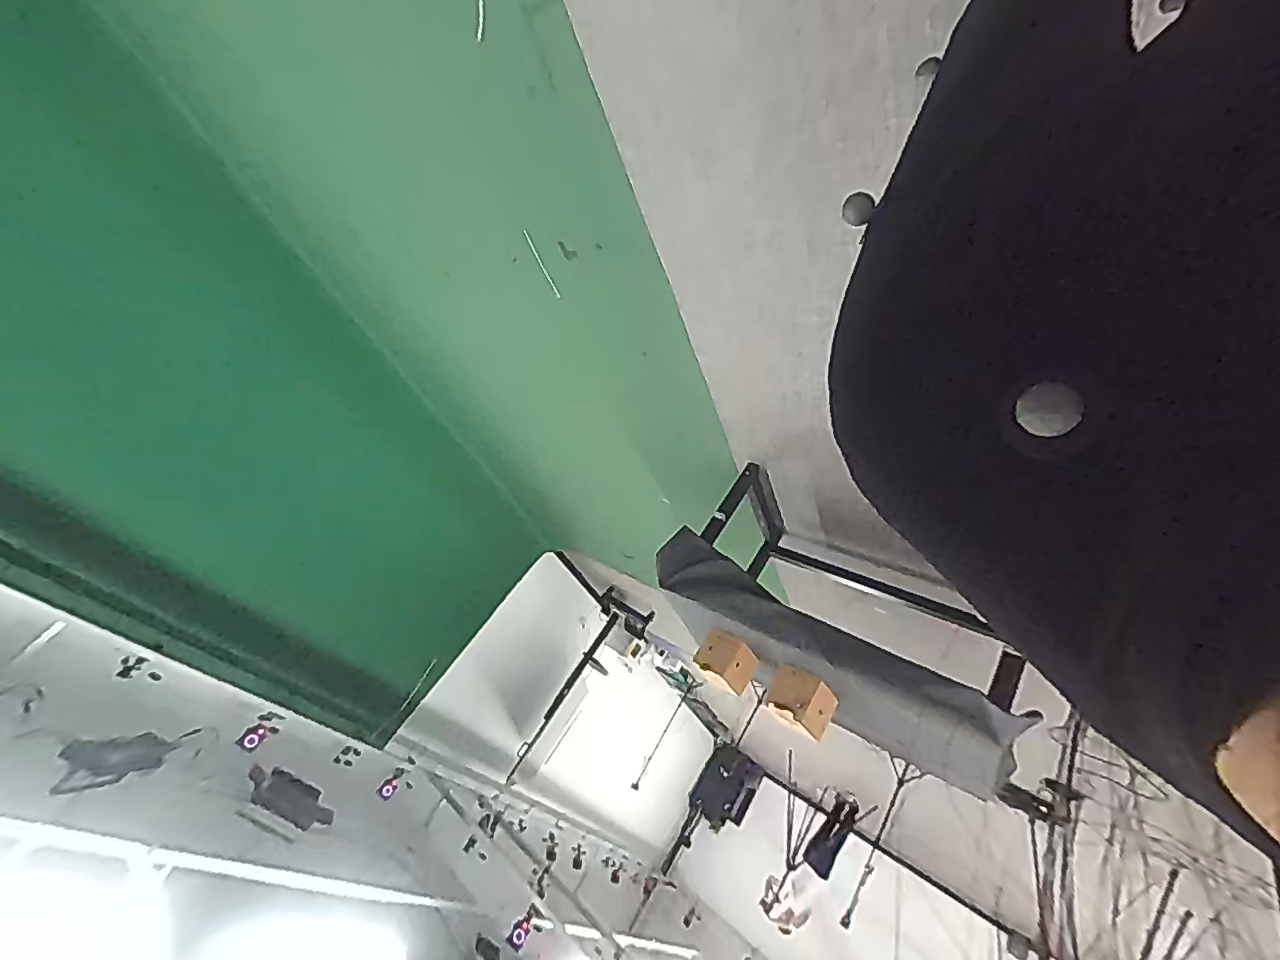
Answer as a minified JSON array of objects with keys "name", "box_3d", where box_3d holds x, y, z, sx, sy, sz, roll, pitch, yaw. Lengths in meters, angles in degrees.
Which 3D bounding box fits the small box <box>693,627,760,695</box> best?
[{"name":"small box","box_3d":[0.348,0.716,2.157,0.168,0.176,0.179,11,147,49]}]
